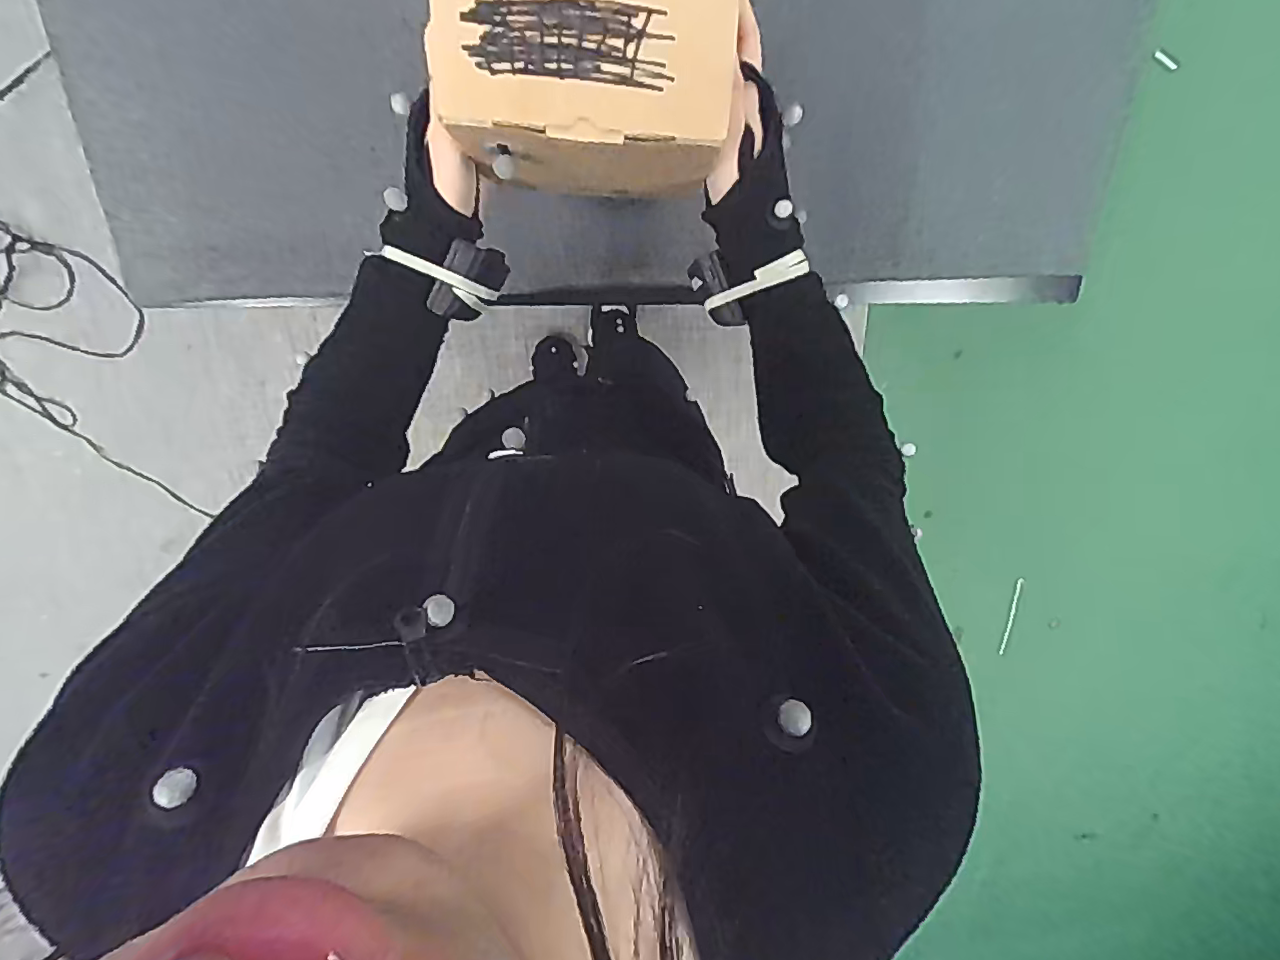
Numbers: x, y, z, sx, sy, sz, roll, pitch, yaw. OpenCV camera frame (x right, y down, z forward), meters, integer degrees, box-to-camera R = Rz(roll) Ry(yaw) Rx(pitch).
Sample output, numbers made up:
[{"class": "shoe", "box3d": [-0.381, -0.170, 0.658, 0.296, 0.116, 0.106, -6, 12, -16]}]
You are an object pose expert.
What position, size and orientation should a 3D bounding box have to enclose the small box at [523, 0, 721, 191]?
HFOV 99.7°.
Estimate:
[{"class": "small box", "box3d": [-0.024, -0.401, 0.531, 0.168, 0.176, 0.179, 2, 110, -6]}]
